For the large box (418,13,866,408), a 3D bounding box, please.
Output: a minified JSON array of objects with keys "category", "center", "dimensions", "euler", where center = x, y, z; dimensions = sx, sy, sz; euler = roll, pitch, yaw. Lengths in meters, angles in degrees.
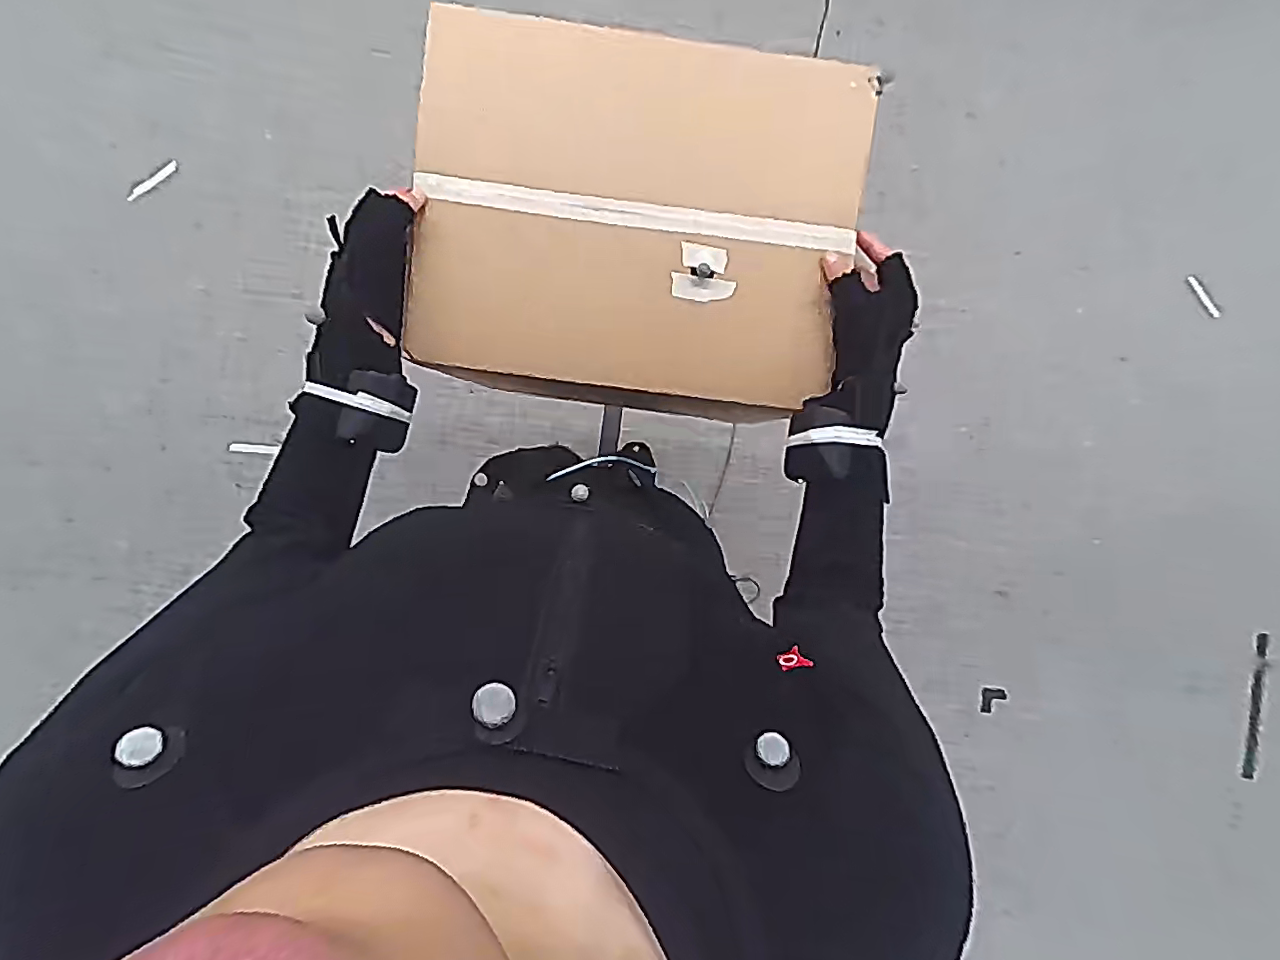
[{"category":"large box","center":[-0.006,-0.267,0.656],"dimensions":[0.408,0.320,0.320],"euler":[7,96,-2]}]
